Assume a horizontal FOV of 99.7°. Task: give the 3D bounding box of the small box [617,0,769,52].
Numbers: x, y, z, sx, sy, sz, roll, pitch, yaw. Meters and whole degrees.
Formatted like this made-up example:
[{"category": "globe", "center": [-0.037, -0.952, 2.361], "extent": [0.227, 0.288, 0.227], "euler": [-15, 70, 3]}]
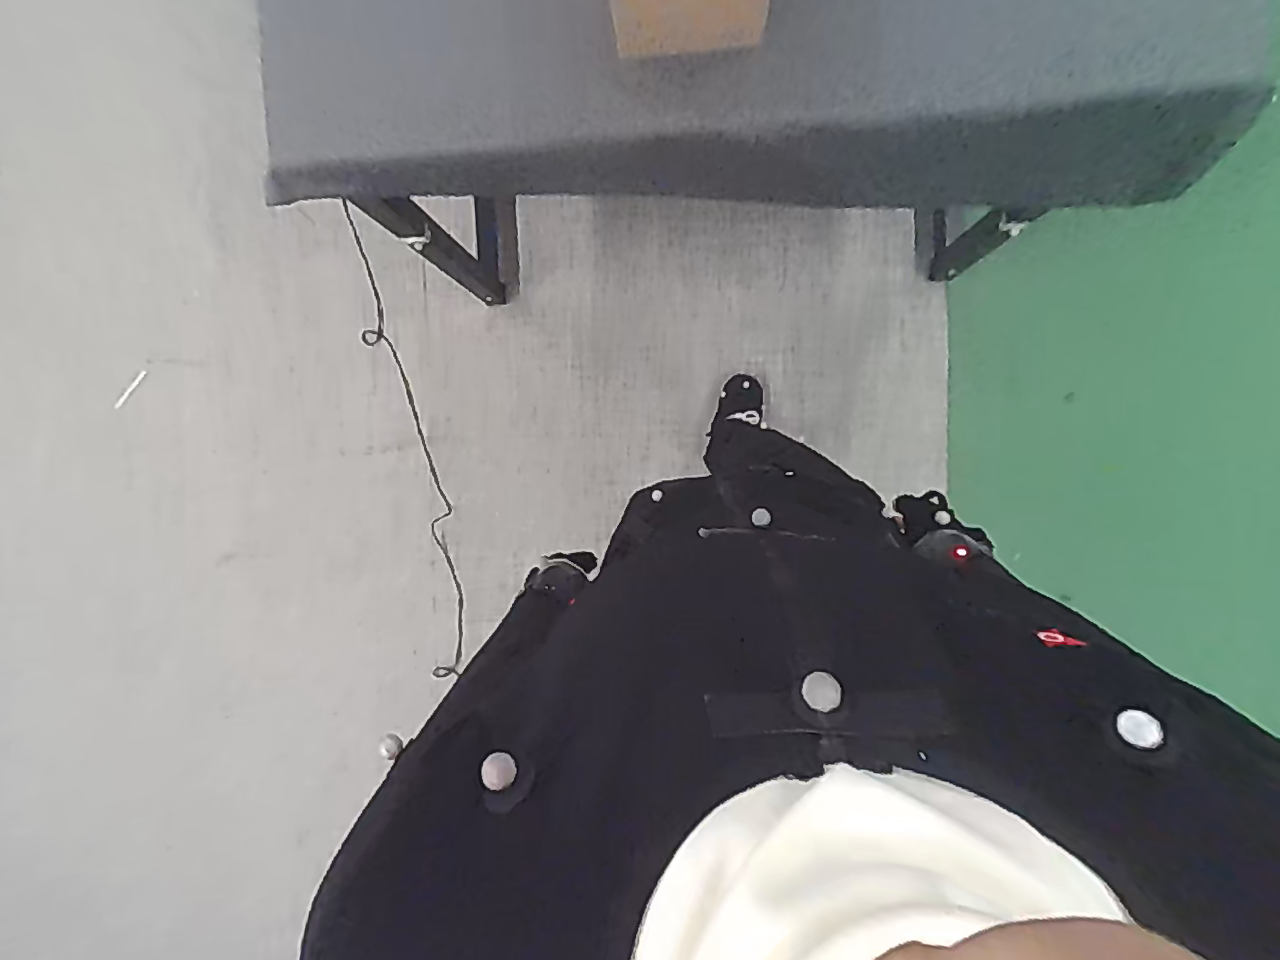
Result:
[{"category": "small box", "center": [0.056, -0.609, 0.586], "extent": [0.179, 0.176, 0.168], "euler": [-2, 92, 4]}]
